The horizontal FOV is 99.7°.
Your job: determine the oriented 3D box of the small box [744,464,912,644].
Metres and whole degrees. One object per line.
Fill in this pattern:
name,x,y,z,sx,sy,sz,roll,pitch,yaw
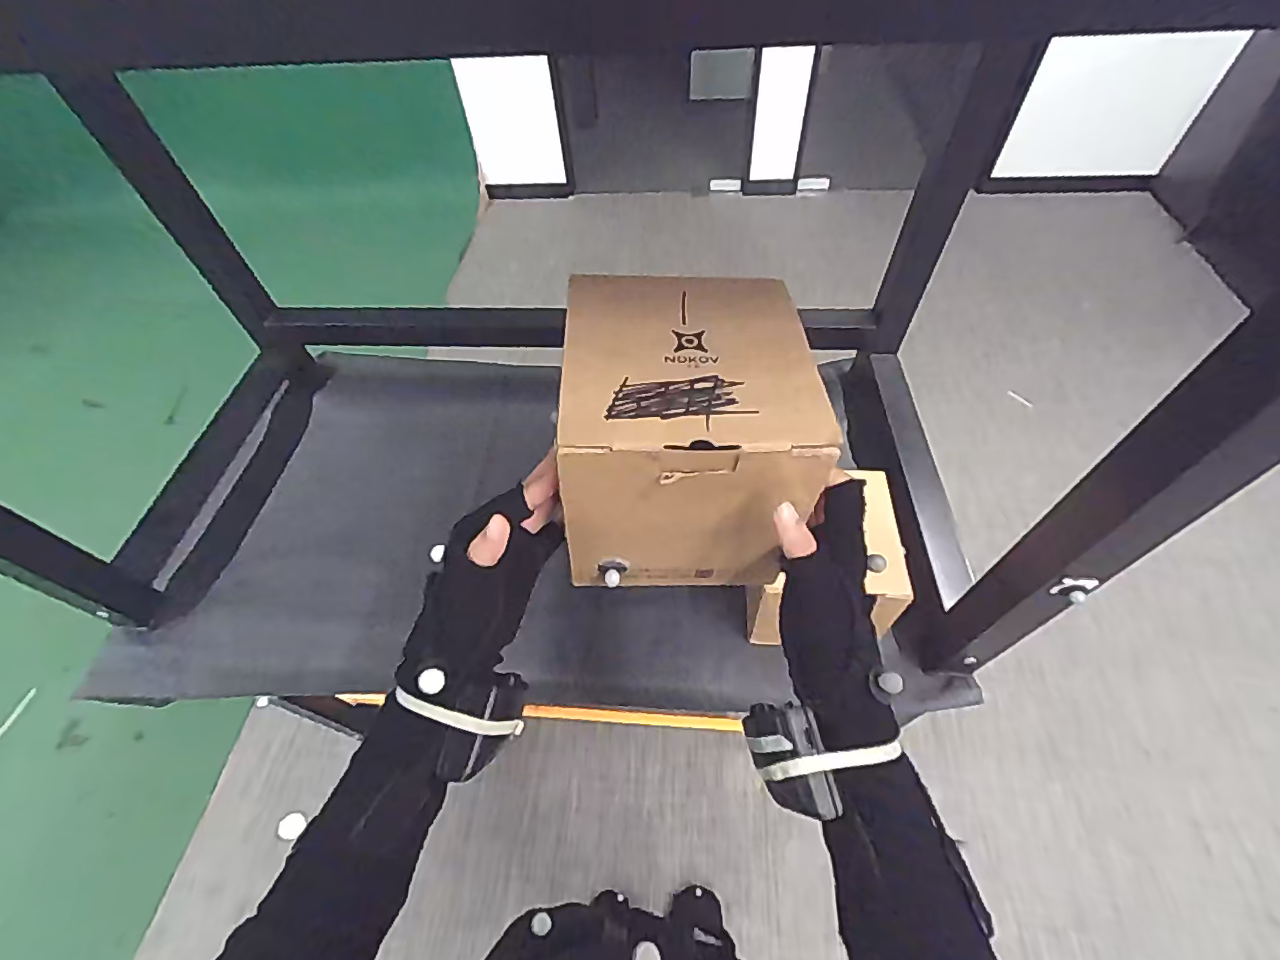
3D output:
small box,0.230,0.099,0.714,0.168,0.176,0.179,1,54,6
